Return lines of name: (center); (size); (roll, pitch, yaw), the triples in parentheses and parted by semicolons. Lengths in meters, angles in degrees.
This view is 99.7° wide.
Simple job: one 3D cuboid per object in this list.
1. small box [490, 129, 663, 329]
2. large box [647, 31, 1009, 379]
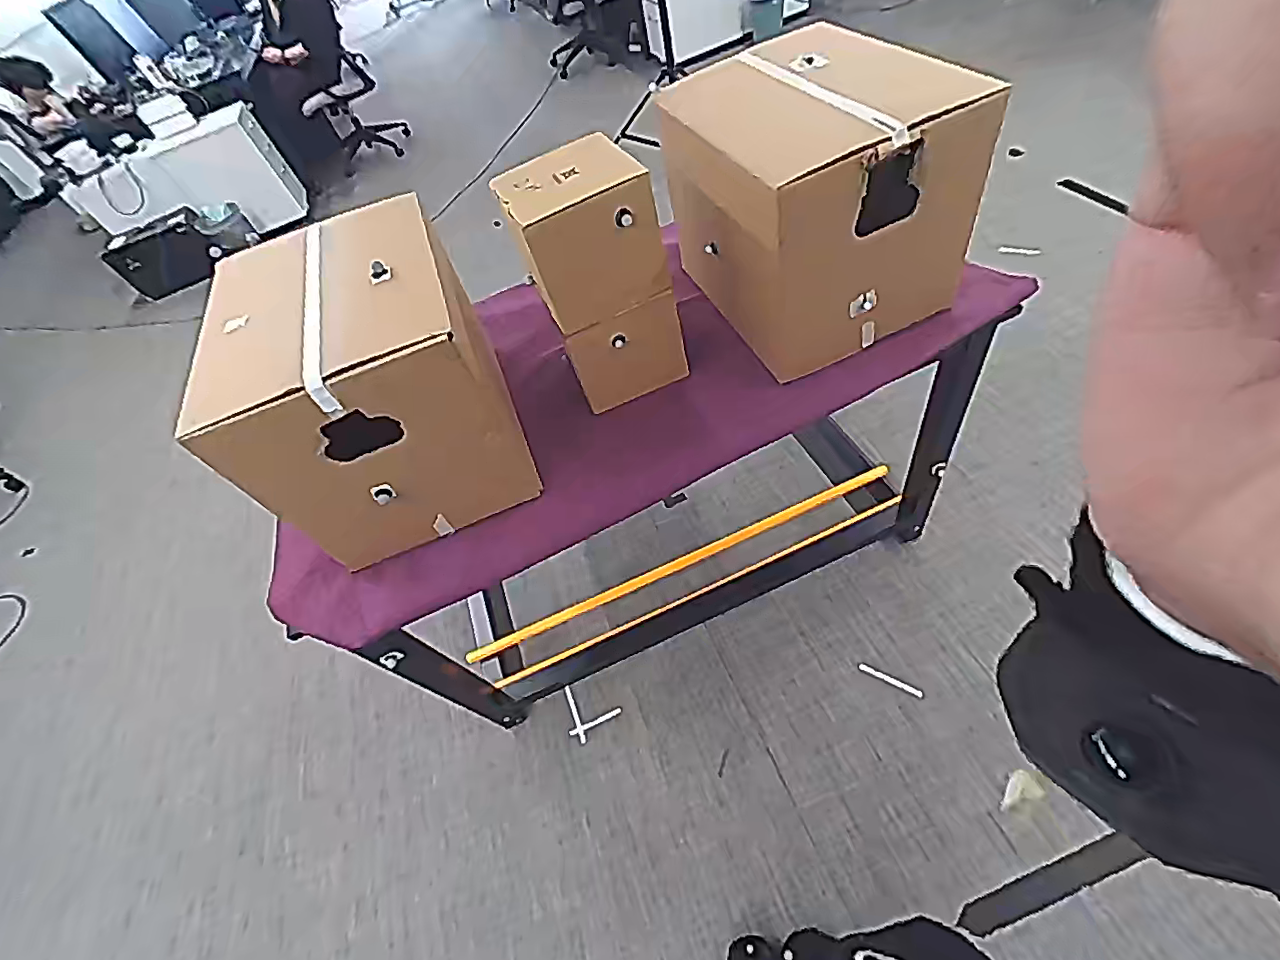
small box: (-0.080, -0.346, 0.755); (0.179, 0.176, 0.168); (-27, 52, -5)
large box: (0.255, -0.433, 0.851); (0.320, 0.320, 0.408); (-24, 51, -4)
